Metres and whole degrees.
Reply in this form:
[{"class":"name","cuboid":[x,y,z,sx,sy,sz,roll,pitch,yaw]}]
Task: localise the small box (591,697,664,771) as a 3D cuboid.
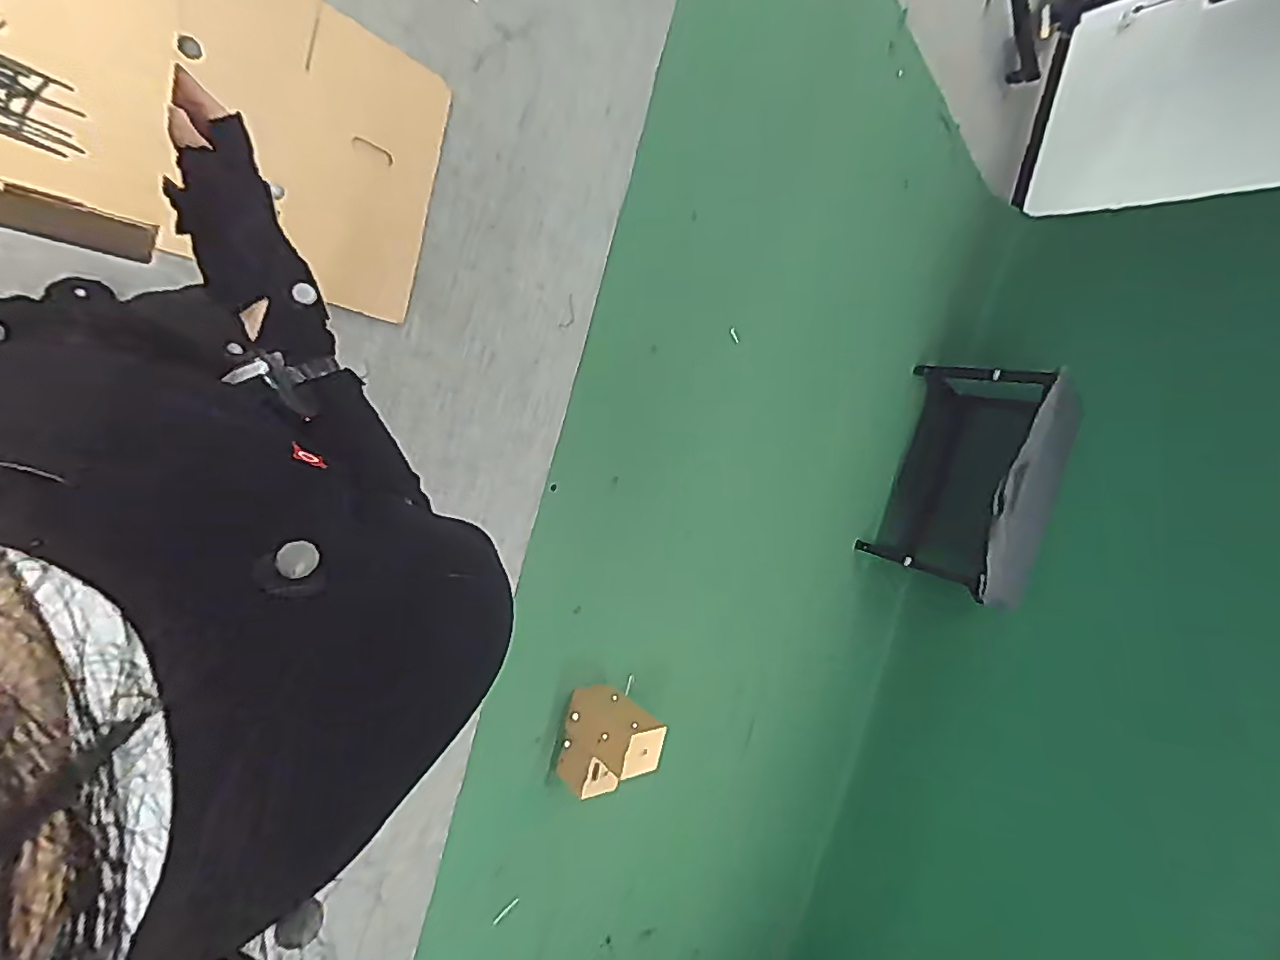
[{"class":"small box","cuboid":[-0.047,0.898,1.931,0.179,0.176,0.168,10,96,-42]}]
